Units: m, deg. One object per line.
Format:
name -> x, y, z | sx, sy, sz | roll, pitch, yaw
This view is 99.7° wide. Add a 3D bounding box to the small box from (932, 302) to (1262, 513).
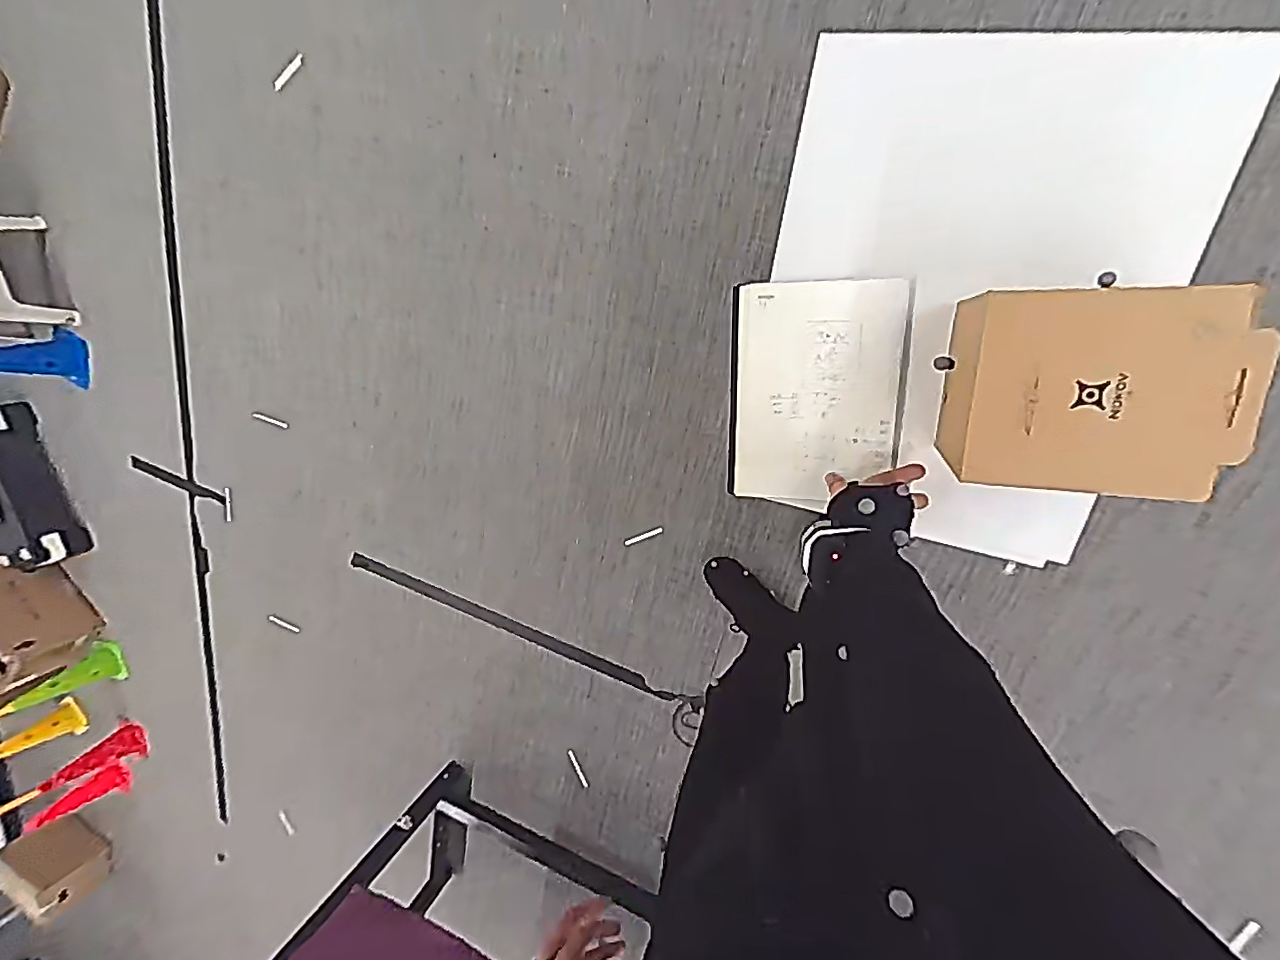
small box -> 0.395, -0.079, 0.511 | 0.179, 0.176, 0.168 | 6, 105, 20
